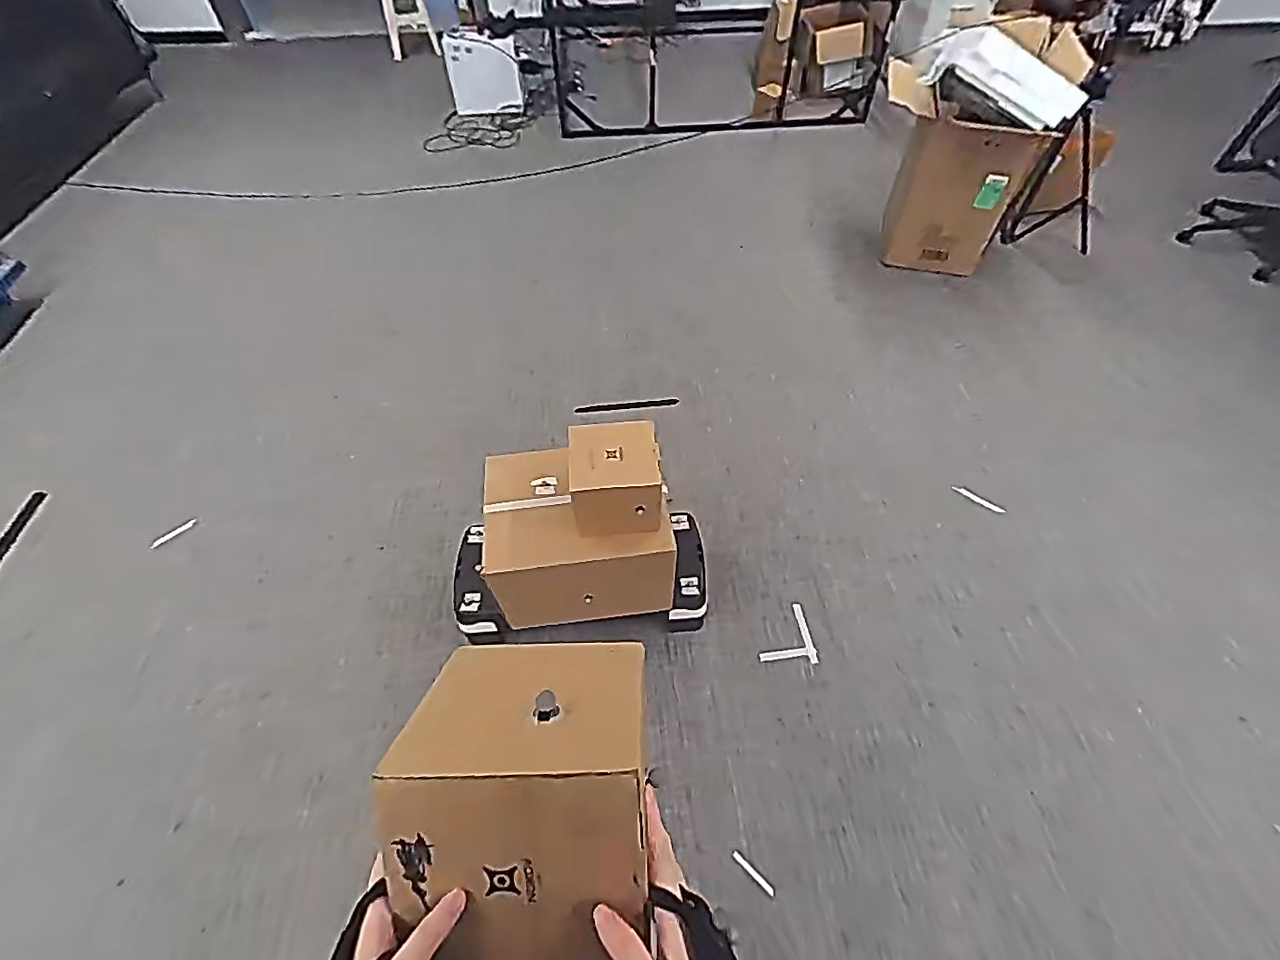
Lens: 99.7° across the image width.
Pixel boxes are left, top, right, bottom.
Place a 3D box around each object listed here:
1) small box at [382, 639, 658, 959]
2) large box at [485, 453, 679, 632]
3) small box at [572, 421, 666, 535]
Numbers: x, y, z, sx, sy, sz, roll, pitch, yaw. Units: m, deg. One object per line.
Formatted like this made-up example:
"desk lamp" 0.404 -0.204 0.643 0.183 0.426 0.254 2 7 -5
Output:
"small box" -0.077 0.241 0.436 0.179 0.168 0.176 -1 11 1
"large box" -0.132 0.143 1.308 0.408 0.320 0.320 -7 53 -3
"small box" -0.043 -0.001 1.108 0.179 0.176 0.168 -4 54 -1
